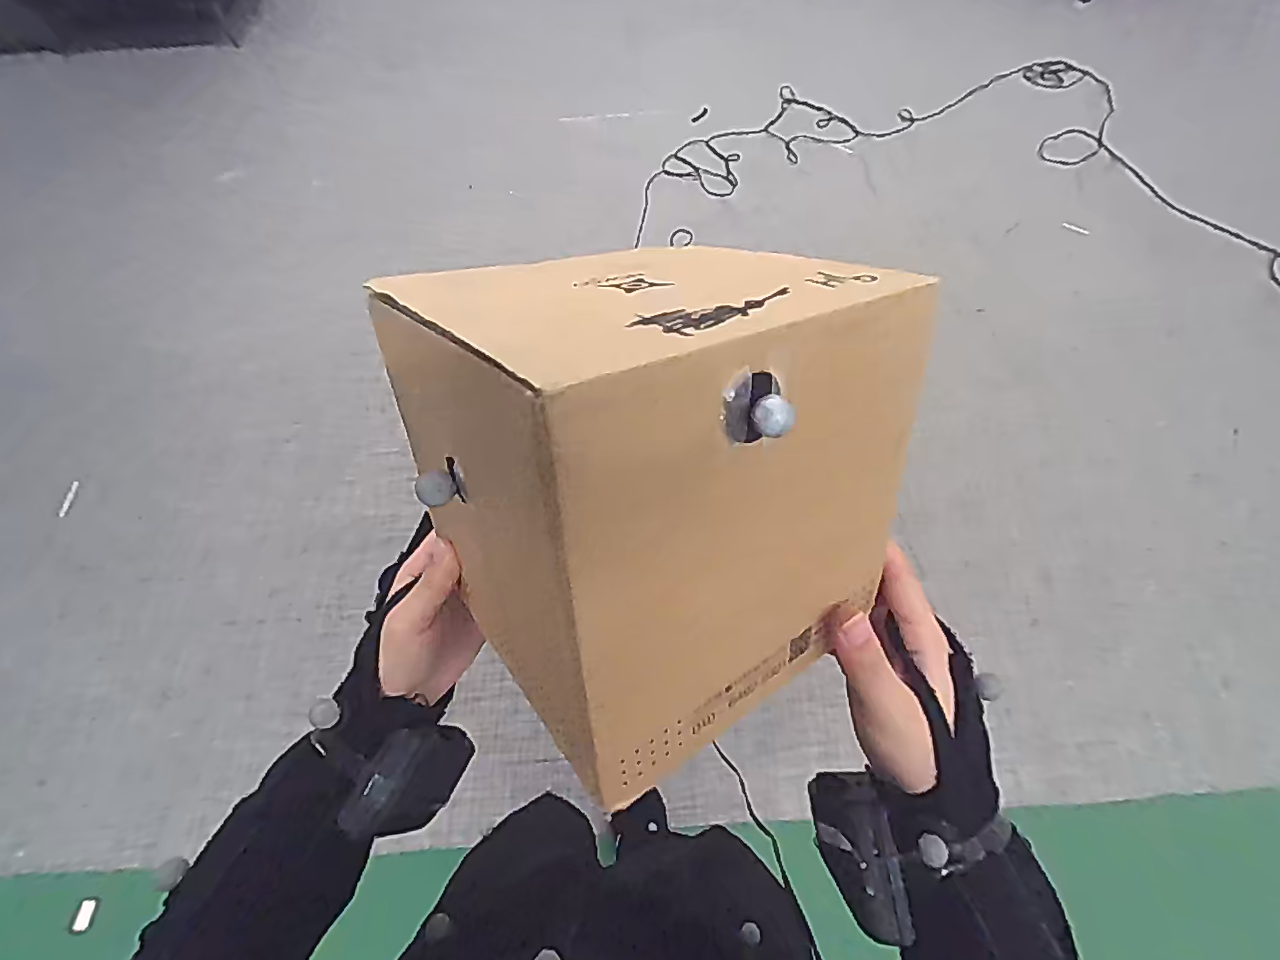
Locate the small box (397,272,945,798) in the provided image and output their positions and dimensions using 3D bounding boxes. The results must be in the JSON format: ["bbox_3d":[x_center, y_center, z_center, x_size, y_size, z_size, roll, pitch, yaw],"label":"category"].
[{"bbox_3d":[0.007,0.002,0.265,0.168,0.176,0.179,-24,34,-29],"label":"small box"}]
